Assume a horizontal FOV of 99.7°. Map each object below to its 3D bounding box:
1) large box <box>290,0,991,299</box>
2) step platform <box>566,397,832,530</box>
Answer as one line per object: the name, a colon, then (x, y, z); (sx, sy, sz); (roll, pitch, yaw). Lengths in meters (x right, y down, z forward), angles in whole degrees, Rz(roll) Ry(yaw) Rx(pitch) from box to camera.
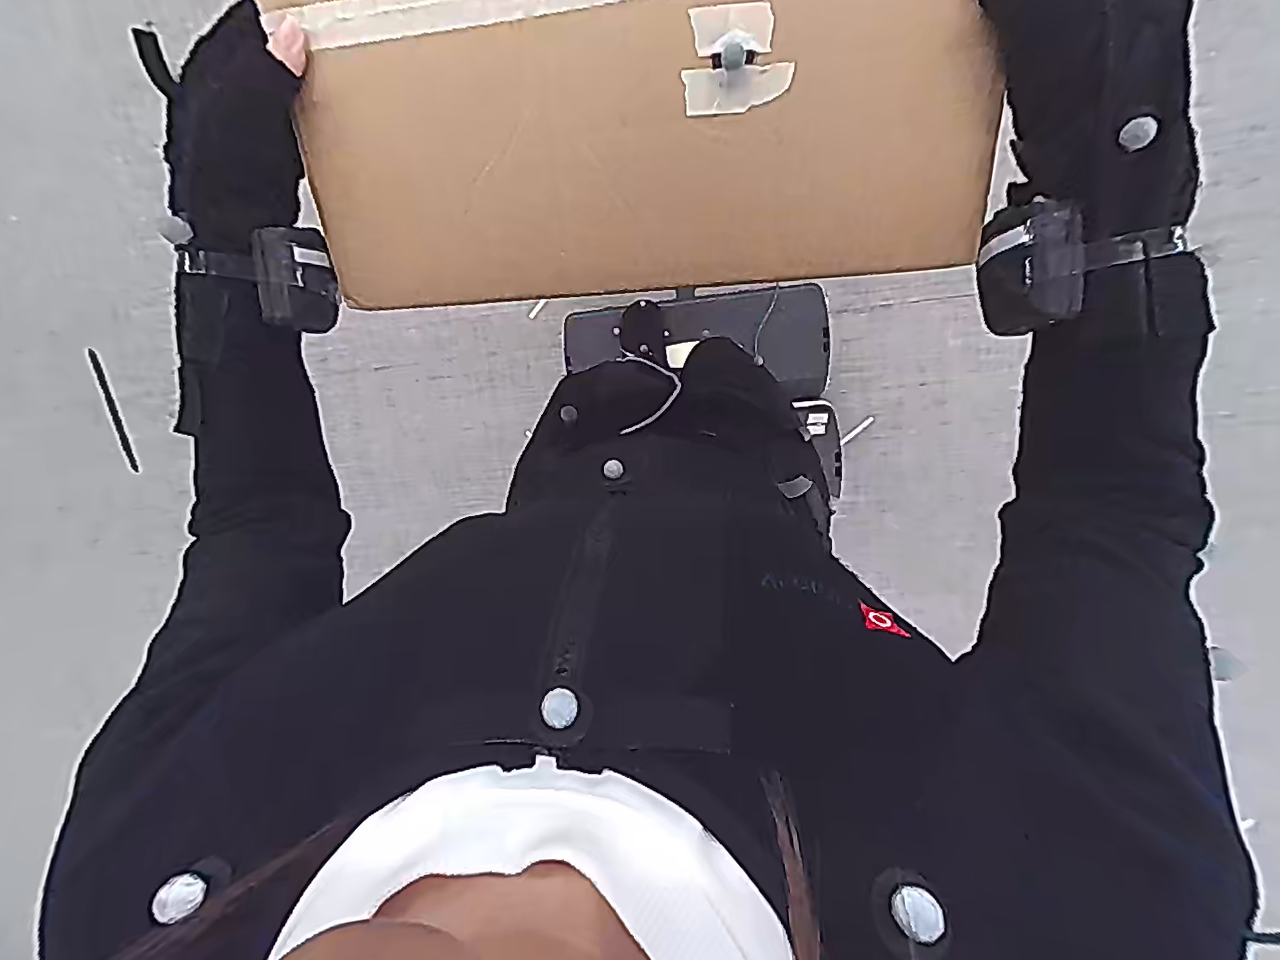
large box: (0.004, -0.337, 0.435); (0.408, 0.320, 0.320); (-1, 114, 9)
step platform: (0.150, -0.040, 1.435); (0.684, 0.204, 0.286); (-5, 104, 11)
